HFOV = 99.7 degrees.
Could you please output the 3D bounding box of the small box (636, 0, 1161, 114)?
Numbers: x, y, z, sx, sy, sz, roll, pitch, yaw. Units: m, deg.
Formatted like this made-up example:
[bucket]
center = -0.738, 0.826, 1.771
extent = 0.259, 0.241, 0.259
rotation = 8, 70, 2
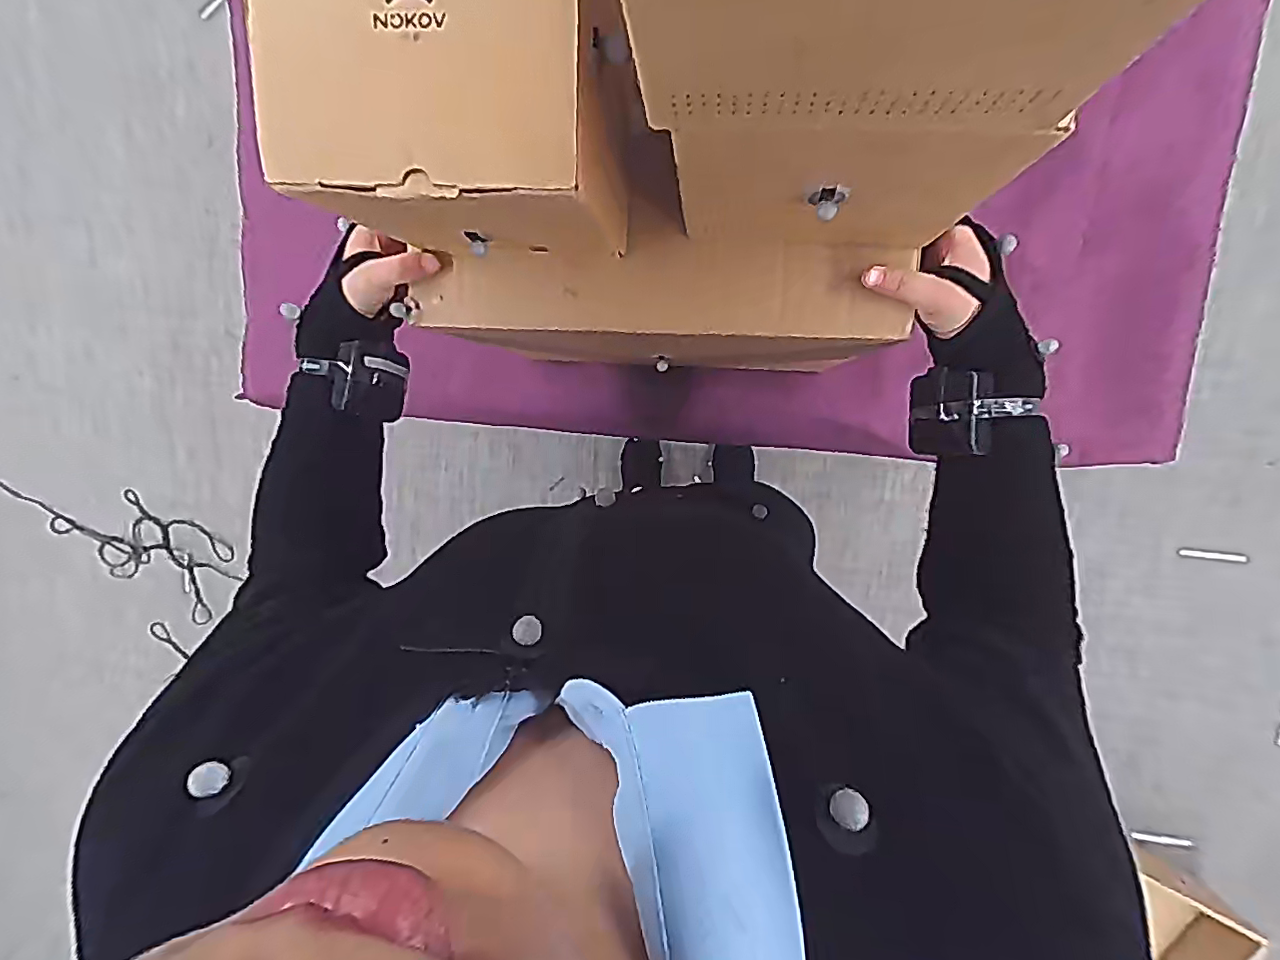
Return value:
[small box]
center = 0.084, -0.227, 0.144
extent = 0.179, 0.176, 0.168
rotation = 5, 98, 7
